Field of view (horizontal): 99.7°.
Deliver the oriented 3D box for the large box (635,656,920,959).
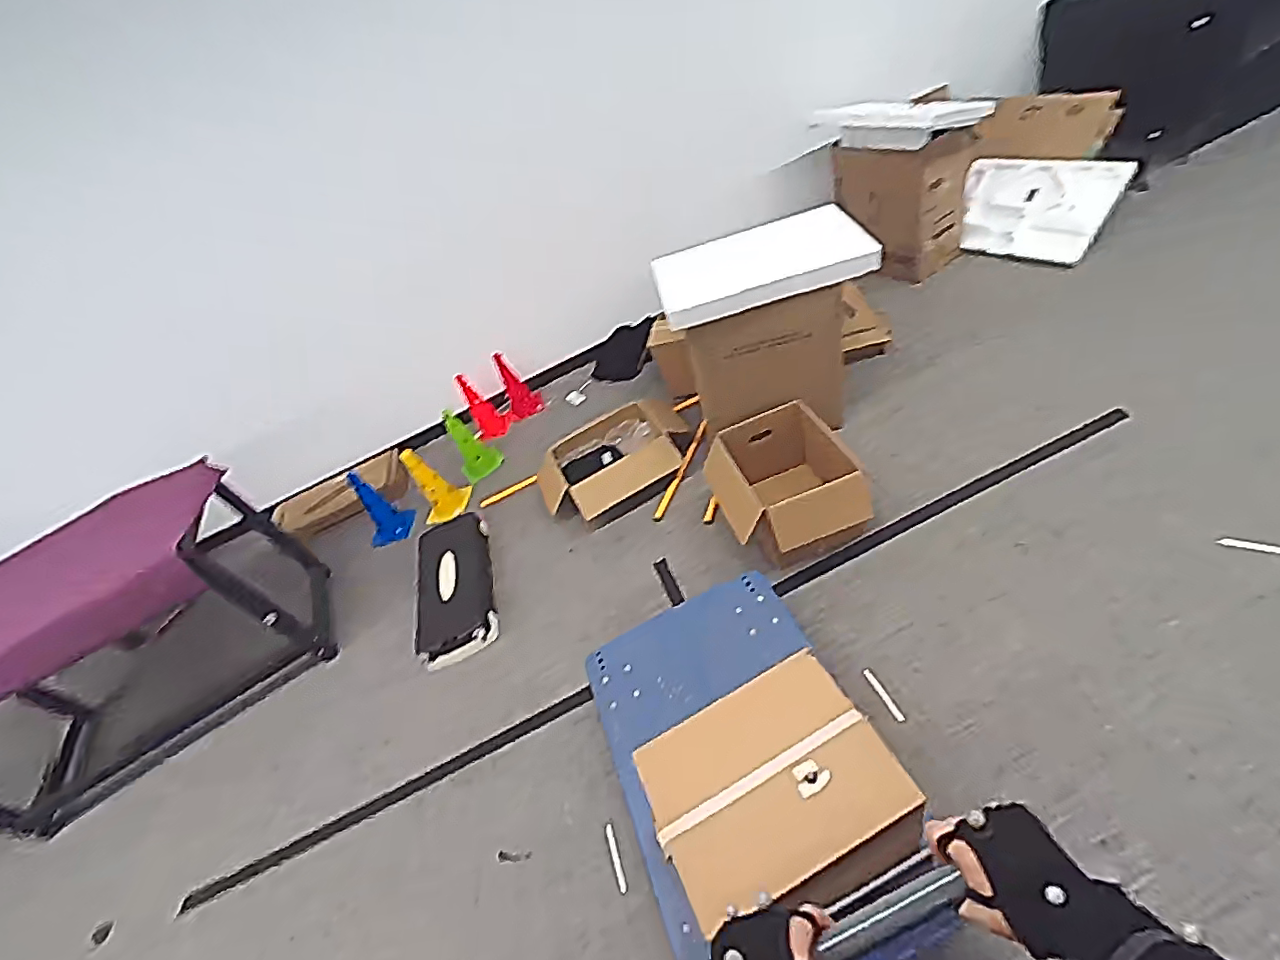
[{"bbox_3d":[0.261,0.632,1.042,0.408,0.320,0.320,-28,42,-7],"label":"large box"}]
